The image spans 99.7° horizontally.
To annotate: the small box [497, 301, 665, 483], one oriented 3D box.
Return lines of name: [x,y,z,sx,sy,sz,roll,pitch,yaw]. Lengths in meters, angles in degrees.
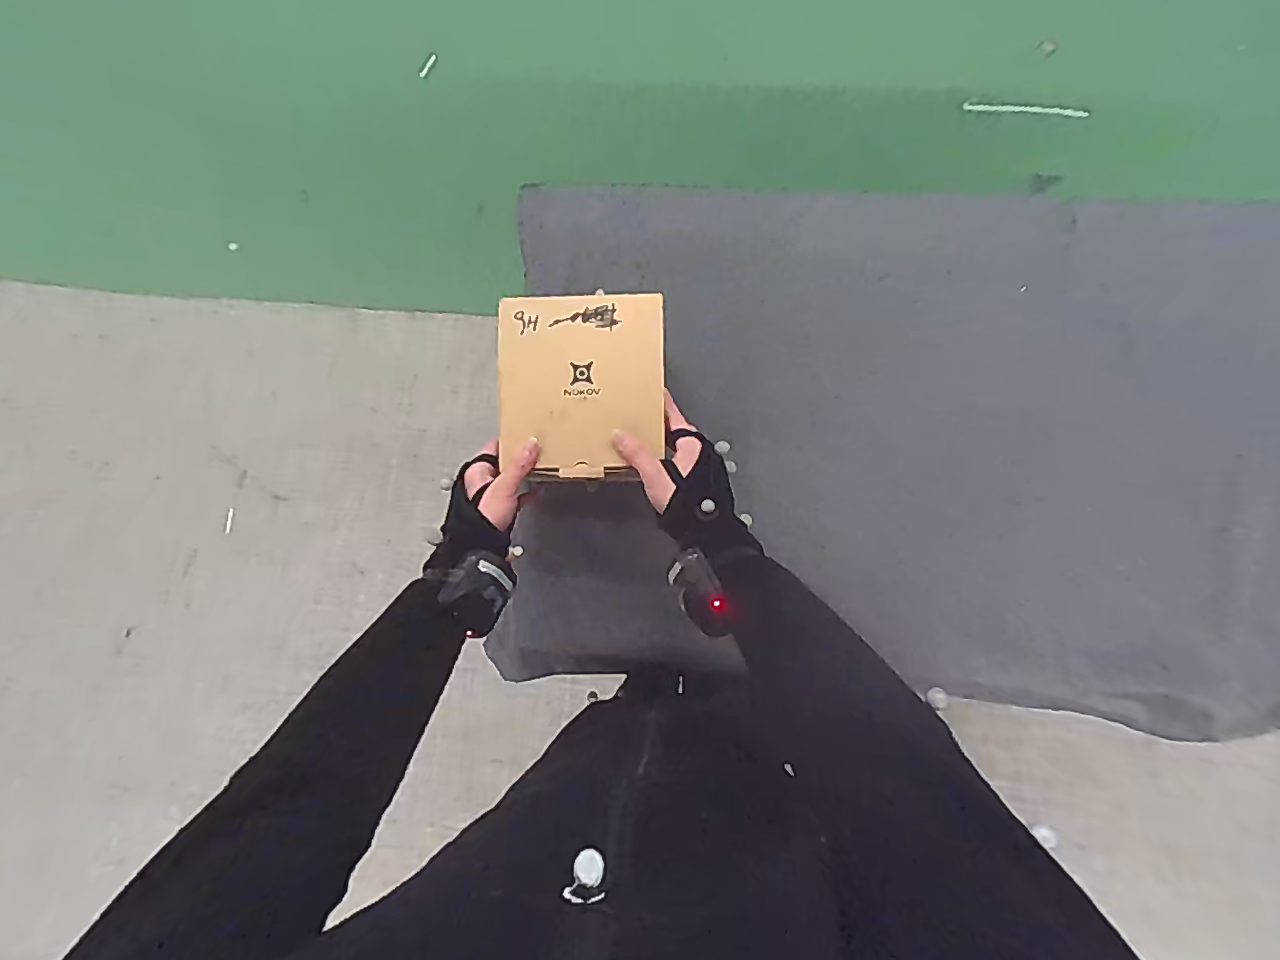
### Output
small box: [-0.055,-0.085,0.610,0.168,0.176,0.179,-1,87,3]
